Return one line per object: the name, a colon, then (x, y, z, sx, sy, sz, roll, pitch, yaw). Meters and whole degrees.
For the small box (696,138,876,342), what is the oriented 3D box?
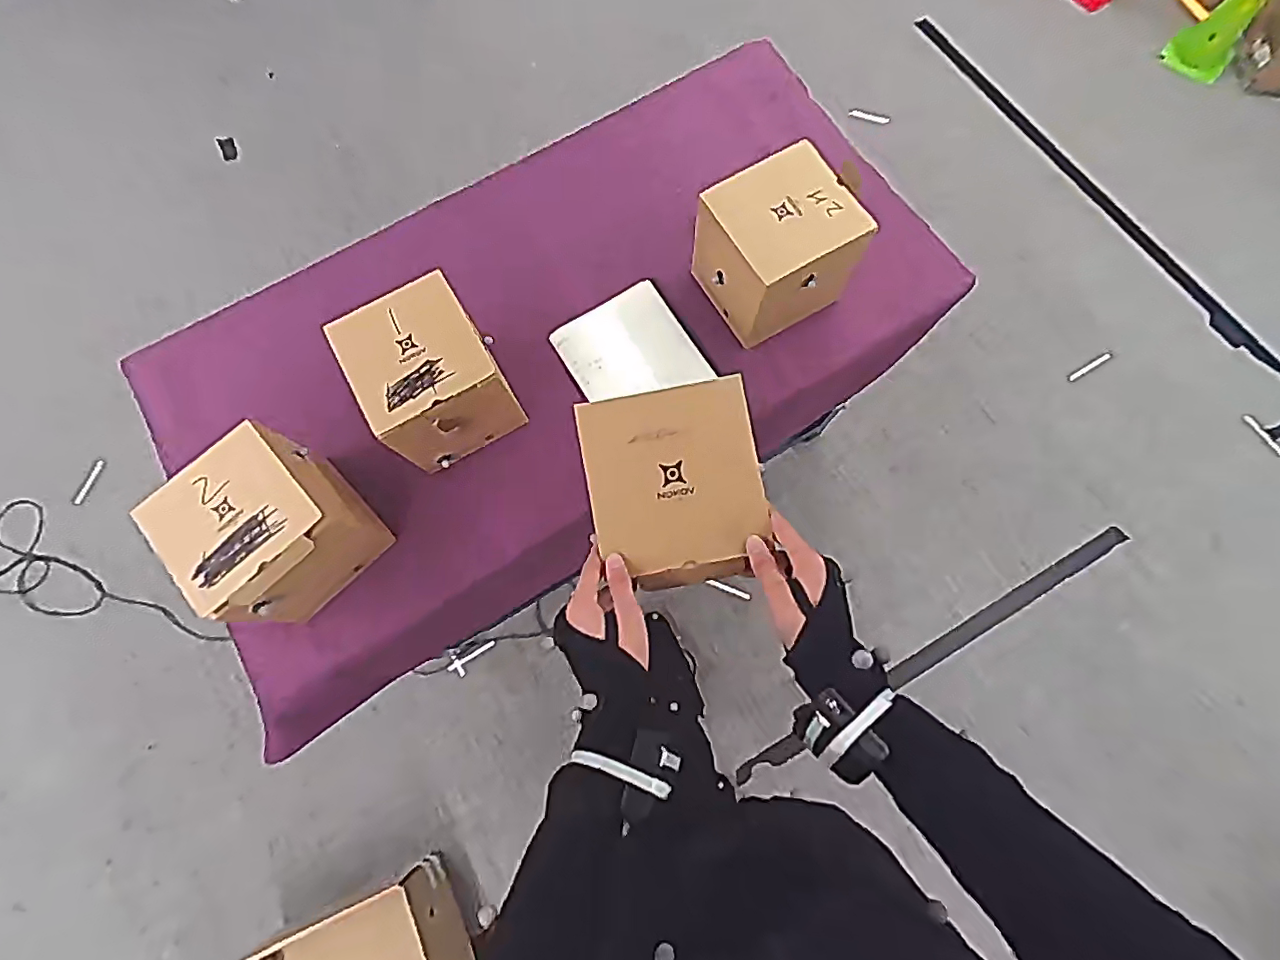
small box: (0.192, -0.329, 0.773, 0.179, 0.176, 0.168, -29, 77, -6)

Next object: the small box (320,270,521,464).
small box: (-0.284, -0.138, 0.738, 0.168, 0.176, 0.179, -30, 76, -6)

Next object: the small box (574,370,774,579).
small box: (0.033, -0.001, 0.584, 0.168, 0.176, 0.179, -10, 85, 0)
